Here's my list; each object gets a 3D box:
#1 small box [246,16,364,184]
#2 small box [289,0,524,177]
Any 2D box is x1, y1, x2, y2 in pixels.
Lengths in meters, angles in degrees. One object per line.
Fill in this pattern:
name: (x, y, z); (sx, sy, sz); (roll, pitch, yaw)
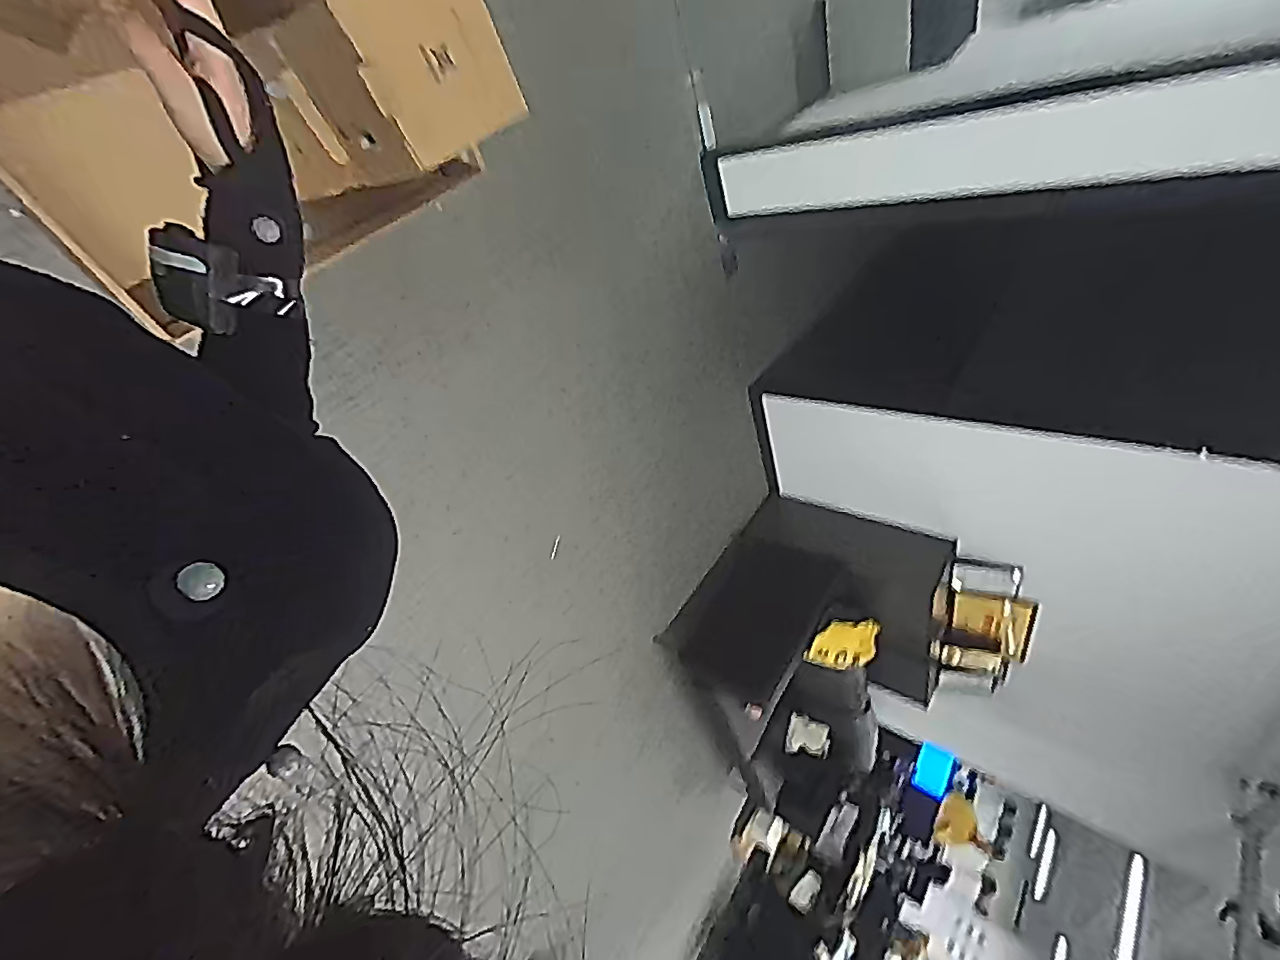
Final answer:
small box: (-0.401, -0.534, 0.747); (0.179, 0.176, 0.168); (-50, 137, -23)
small box: (-0.281, -0.485, 0.648); (0.179, 0.176, 0.168); (-47, 136, -25)
